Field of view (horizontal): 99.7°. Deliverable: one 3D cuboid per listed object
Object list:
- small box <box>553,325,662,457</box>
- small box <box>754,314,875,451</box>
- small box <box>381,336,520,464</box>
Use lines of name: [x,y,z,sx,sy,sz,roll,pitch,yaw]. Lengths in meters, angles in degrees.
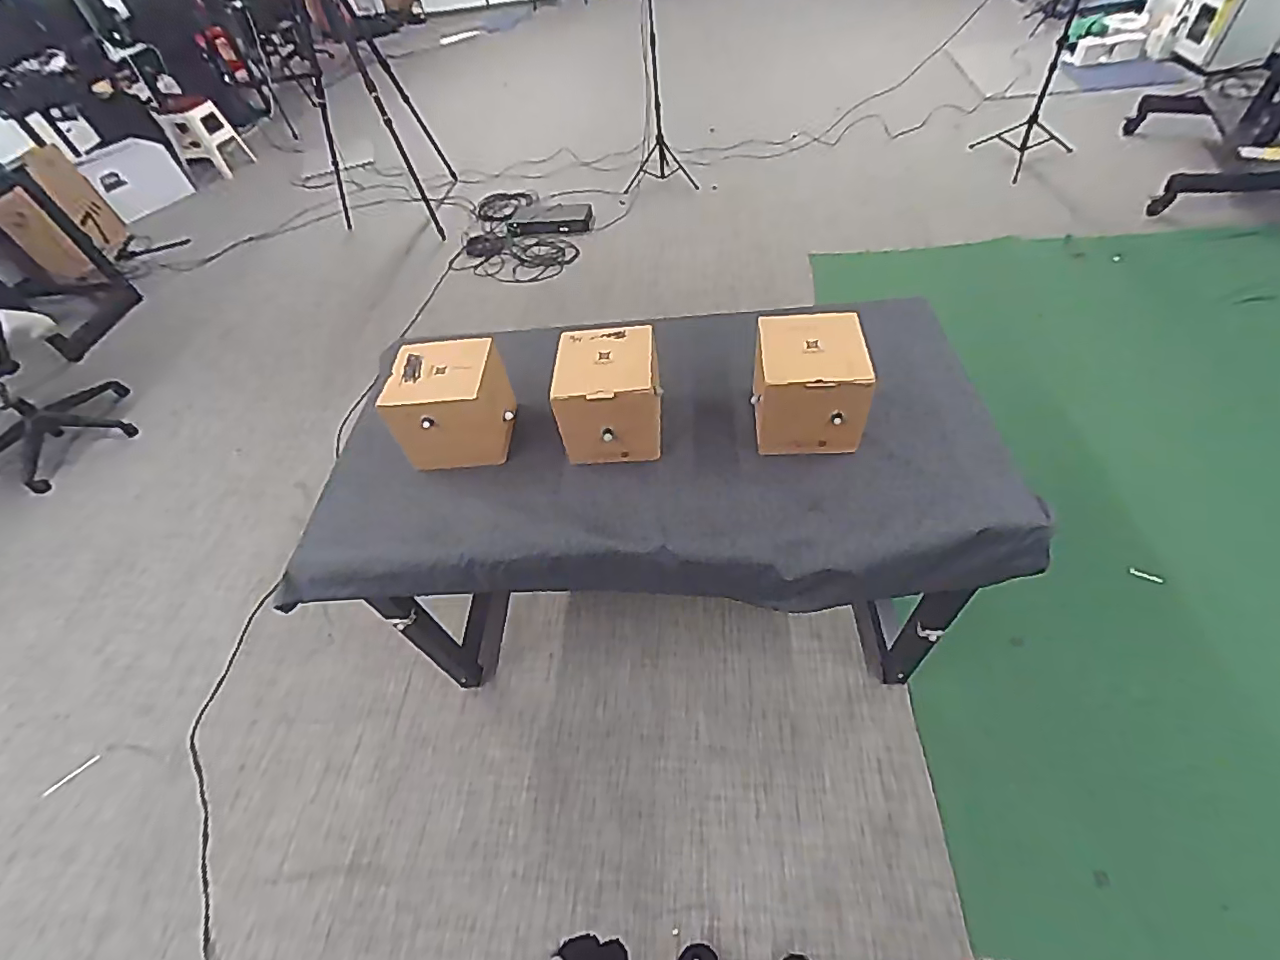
small box: [-0.048,-0.153,0.974,0.168,0.176,0.179,-2,52,6]
small box: [0.289,-0.163,0.936,0.168,0.176,0.179,0,50,6]
small box: [-0.339,-0.144,1.006,0.179,0.176,0.168,-3,51,4]
